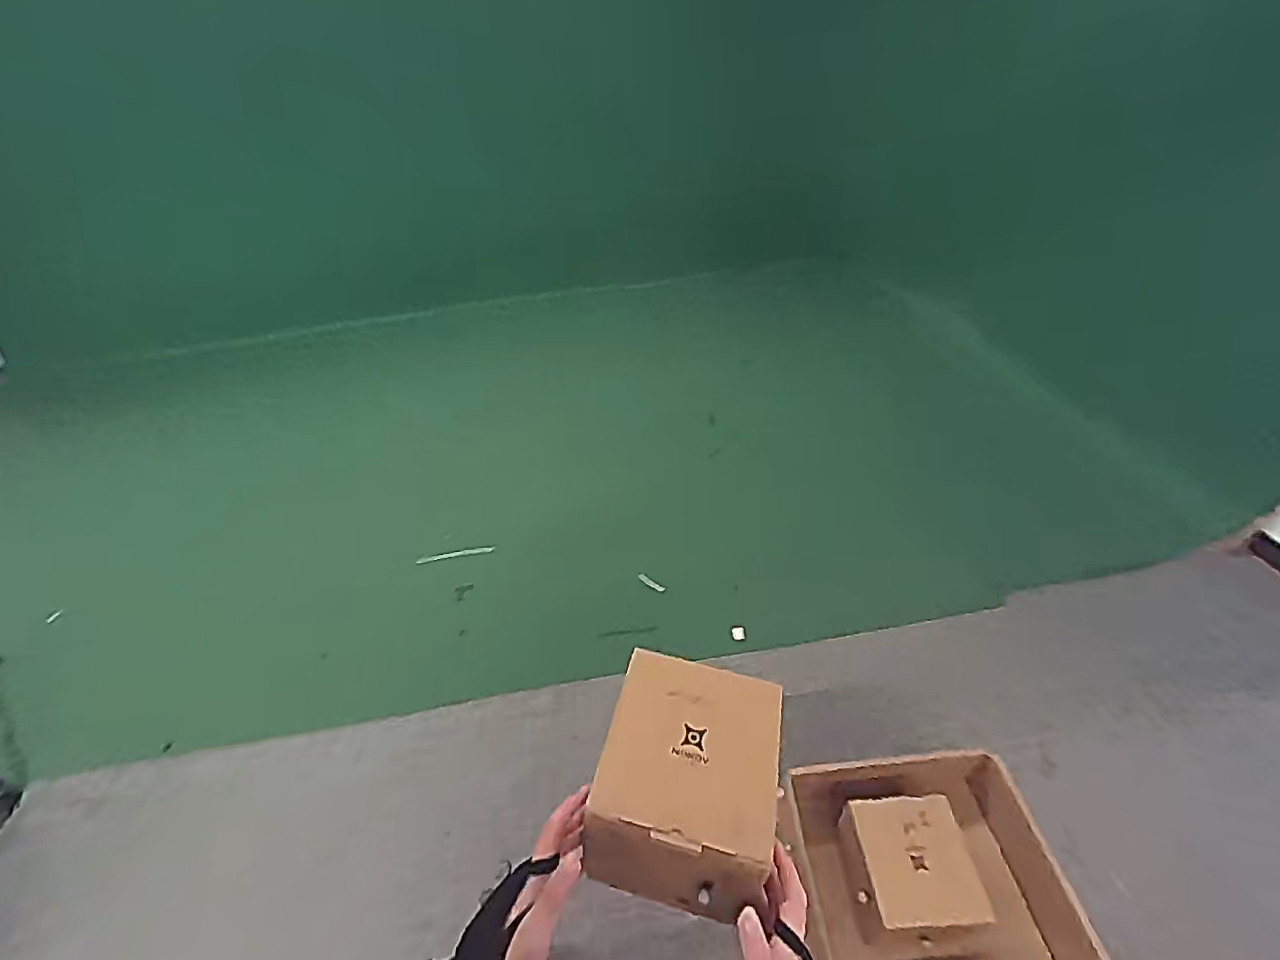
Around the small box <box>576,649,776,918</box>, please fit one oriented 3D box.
[{"bbox_3d":[0.040,0.317,0.569,0.168,0.176,0.179,12,37,9],"label":"small box"}]
